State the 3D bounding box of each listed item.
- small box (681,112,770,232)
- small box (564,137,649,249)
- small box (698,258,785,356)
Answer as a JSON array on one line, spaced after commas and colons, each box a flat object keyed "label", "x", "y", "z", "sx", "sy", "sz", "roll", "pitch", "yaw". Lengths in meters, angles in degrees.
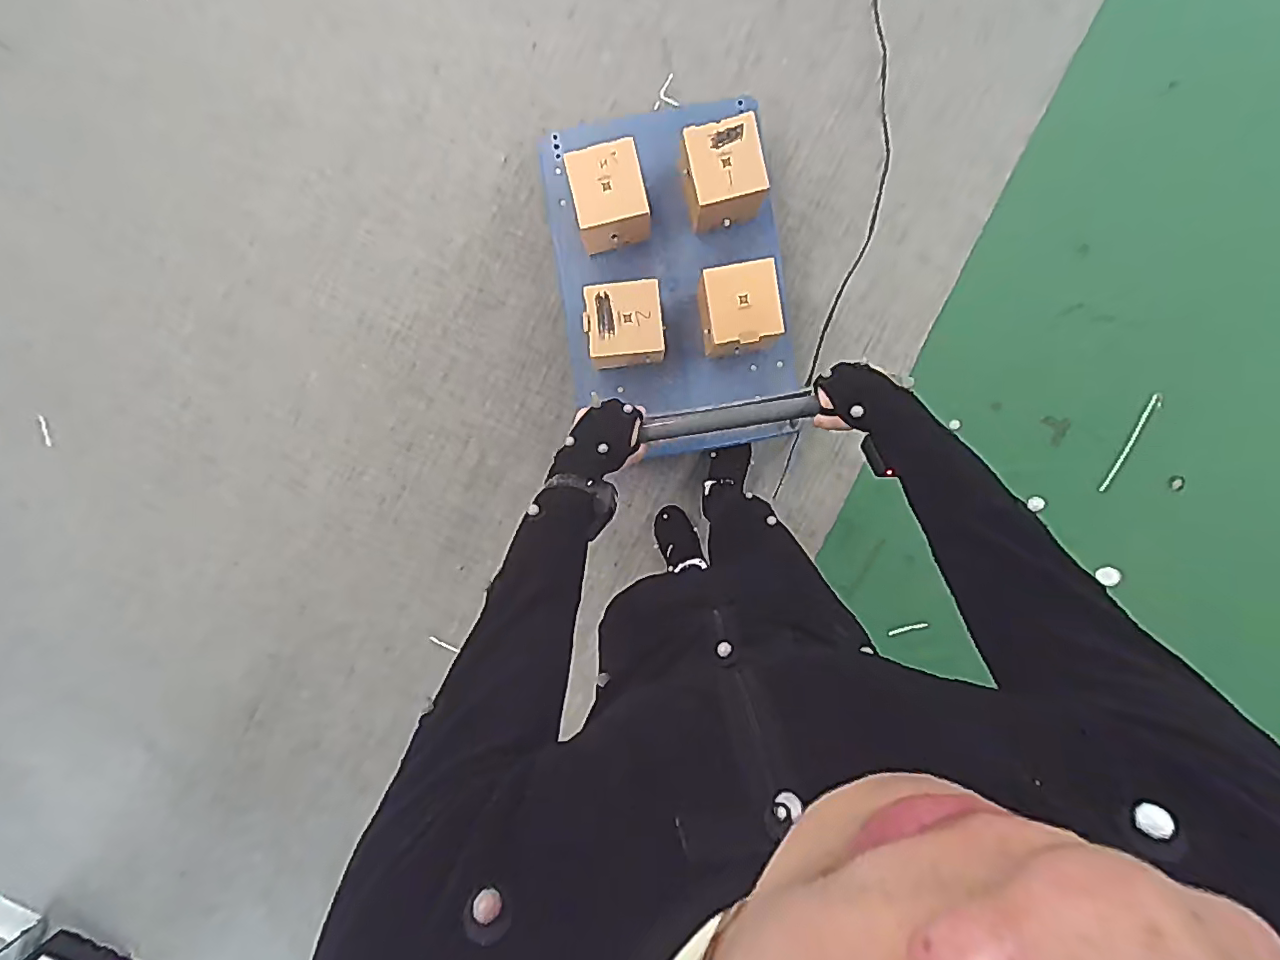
[{"label": "small box", "x": 0.198, "y": -0.726, "z": 1.292, "sx": 0.168, "sy": 0.176, "sz": 0.179, "roll": -13, "pitch": 94, "yaw": 2}, {"label": "small box", "x": -0.074, "y": -0.676, "z": 1.300, "sx": 0.168, "sy": 0.176, "sz": 0.179, "roll": -13, "pitch": 93, "yaw": 1}, {"label": "small box", "x": 0.240, "y": -0.411, "z": 1.312, "sx": 0.168, "sy": 0.176, "sz": 0.179, "roll": -9, "pitch": 94, "yaw": 2}]
